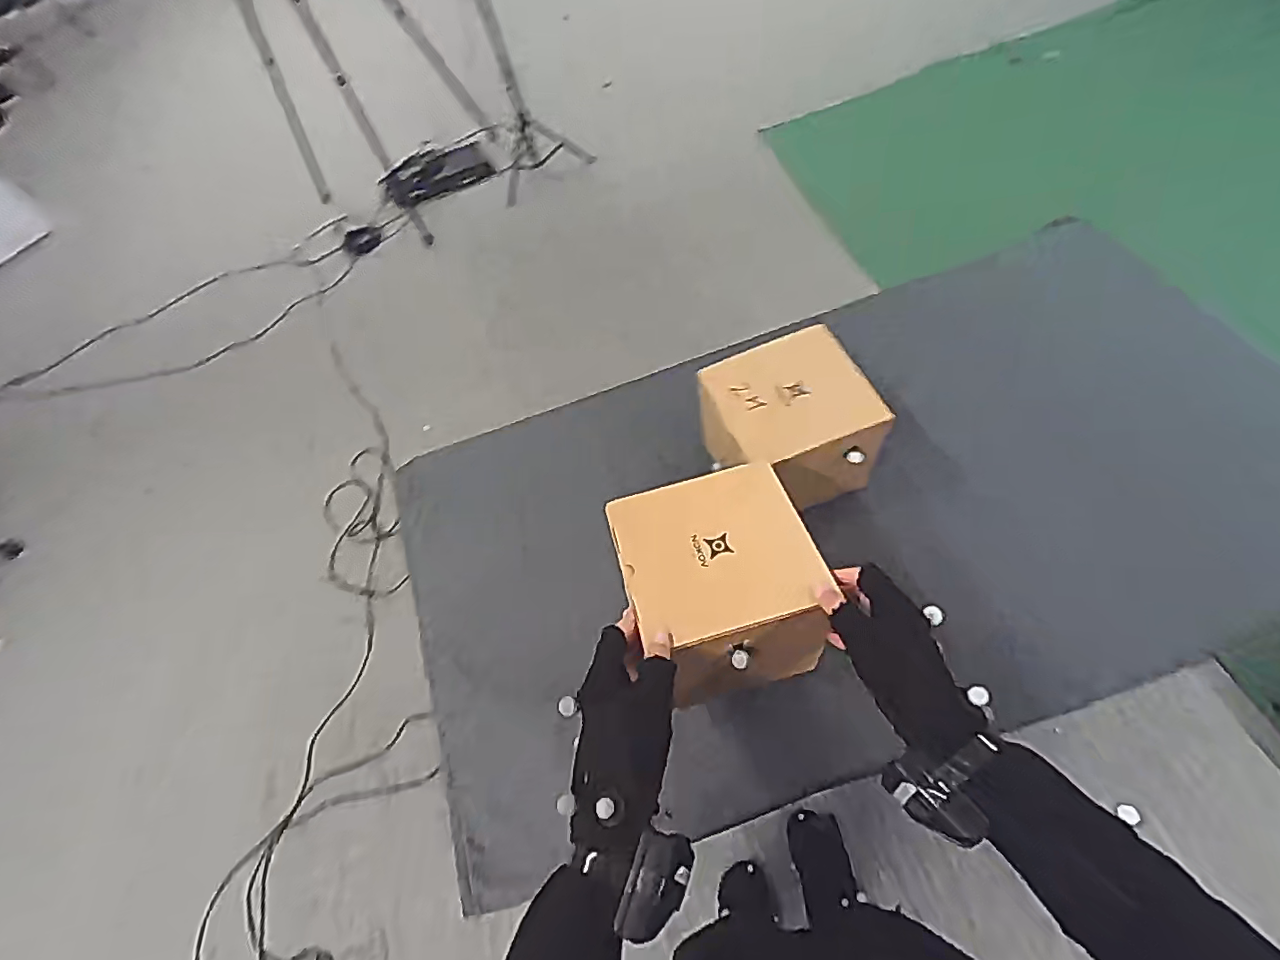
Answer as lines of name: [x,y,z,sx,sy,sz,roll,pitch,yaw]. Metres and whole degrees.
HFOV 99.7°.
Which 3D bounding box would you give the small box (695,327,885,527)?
small box: [0.186,-0.064,0.717,0.179,0.176,0.168,-22,59,-2]
